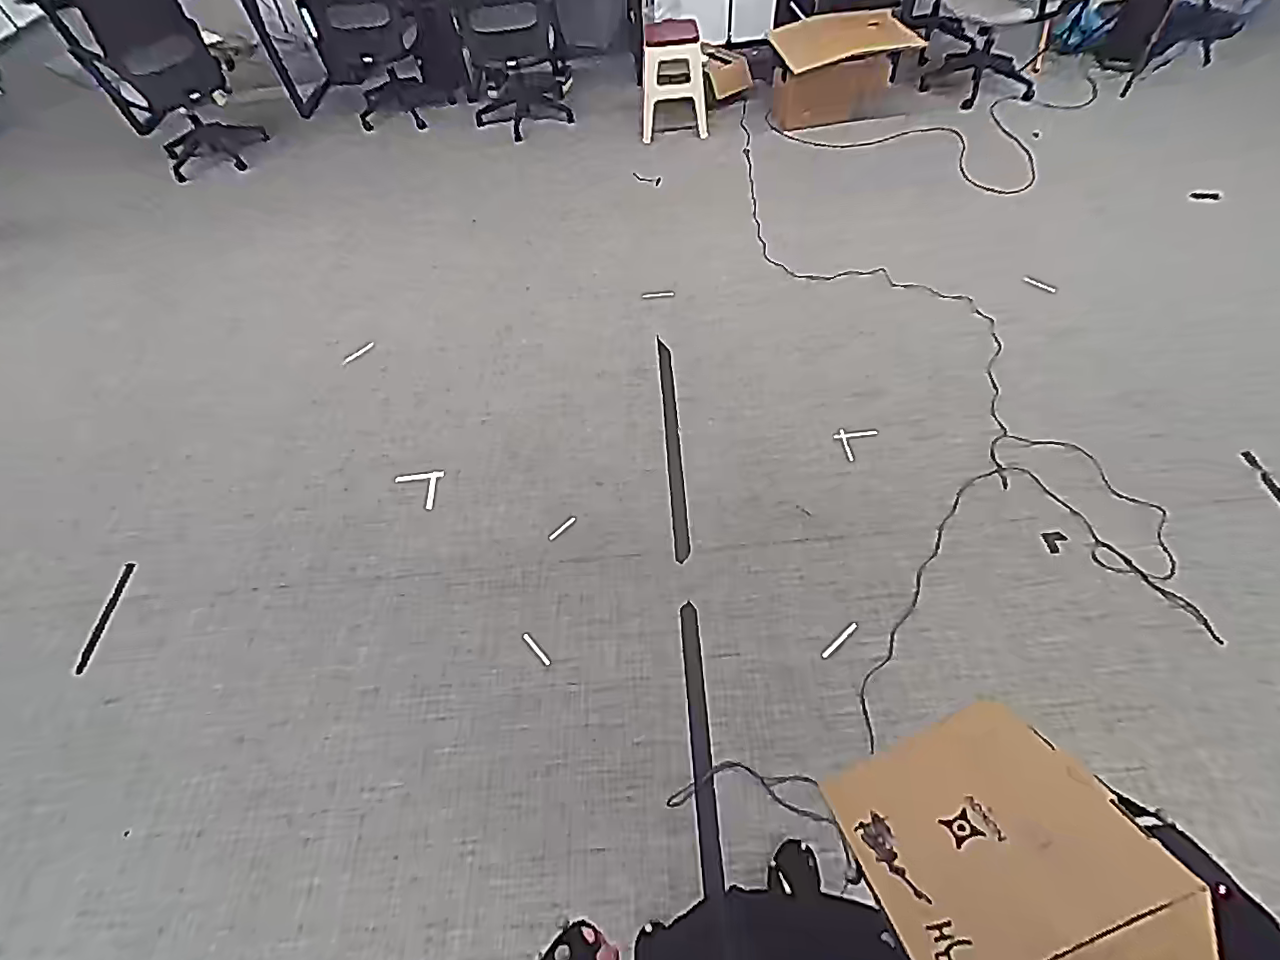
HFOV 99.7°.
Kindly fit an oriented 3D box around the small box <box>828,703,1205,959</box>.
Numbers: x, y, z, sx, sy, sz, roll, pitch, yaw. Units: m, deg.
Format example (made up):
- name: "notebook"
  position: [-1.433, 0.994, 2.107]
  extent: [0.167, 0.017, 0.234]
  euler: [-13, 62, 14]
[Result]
- name: "small box"
  position: [0.286, 0.326, 0.431]
  extent: [0.179, 0.176, 0.168]
  euler: [-27, 19, 1]
